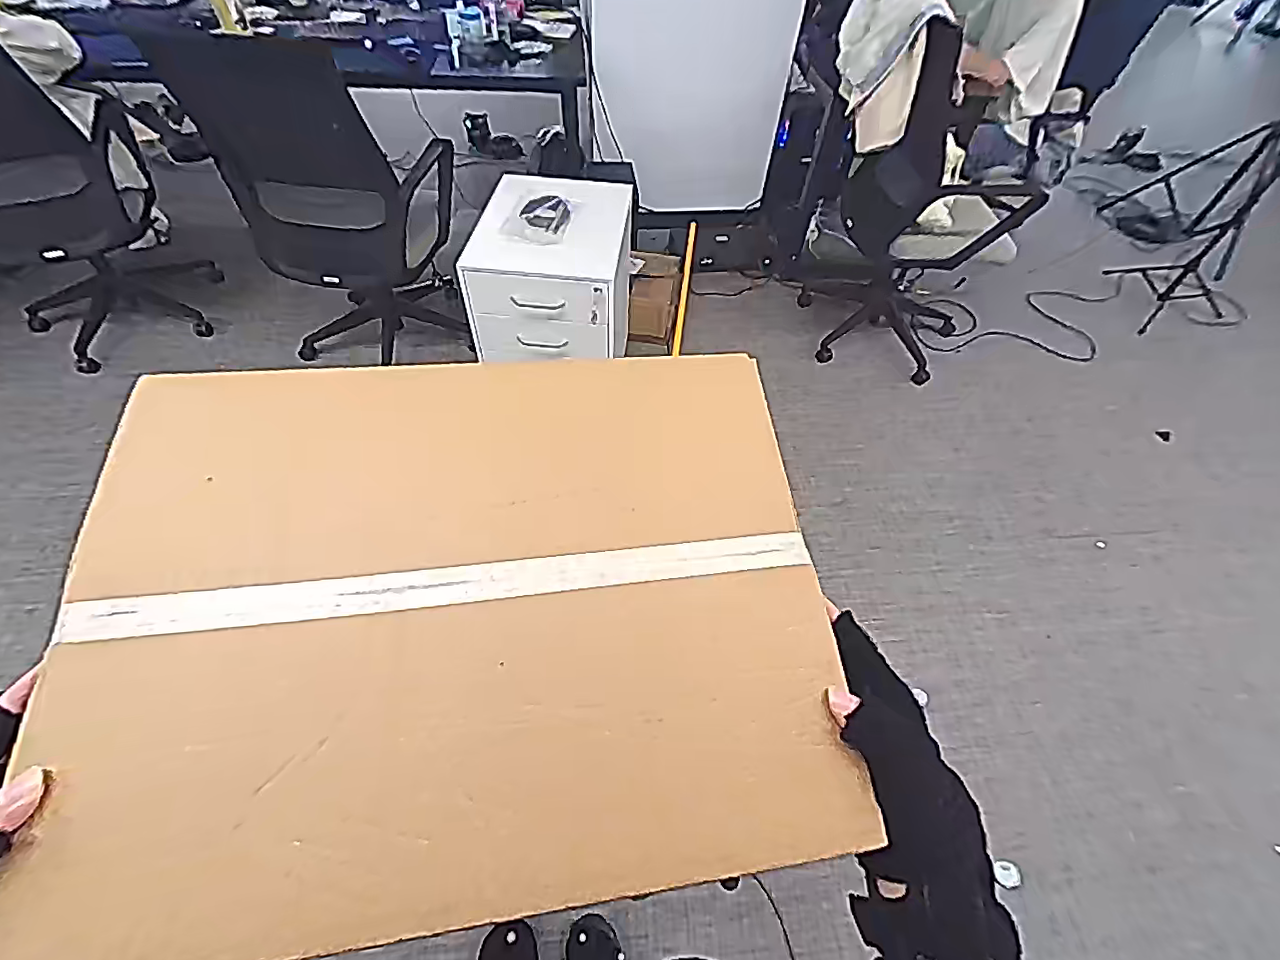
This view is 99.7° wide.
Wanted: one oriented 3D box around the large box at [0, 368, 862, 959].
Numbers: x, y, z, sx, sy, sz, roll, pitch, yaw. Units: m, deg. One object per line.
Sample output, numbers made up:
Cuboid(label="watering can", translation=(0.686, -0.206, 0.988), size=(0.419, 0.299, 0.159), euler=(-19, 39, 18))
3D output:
Cuboid(label="large box", translation=(-0.110, 0.133, 0.447), size=(0.408, 0.320, 0.320), euler=(-4, 64, -9))
